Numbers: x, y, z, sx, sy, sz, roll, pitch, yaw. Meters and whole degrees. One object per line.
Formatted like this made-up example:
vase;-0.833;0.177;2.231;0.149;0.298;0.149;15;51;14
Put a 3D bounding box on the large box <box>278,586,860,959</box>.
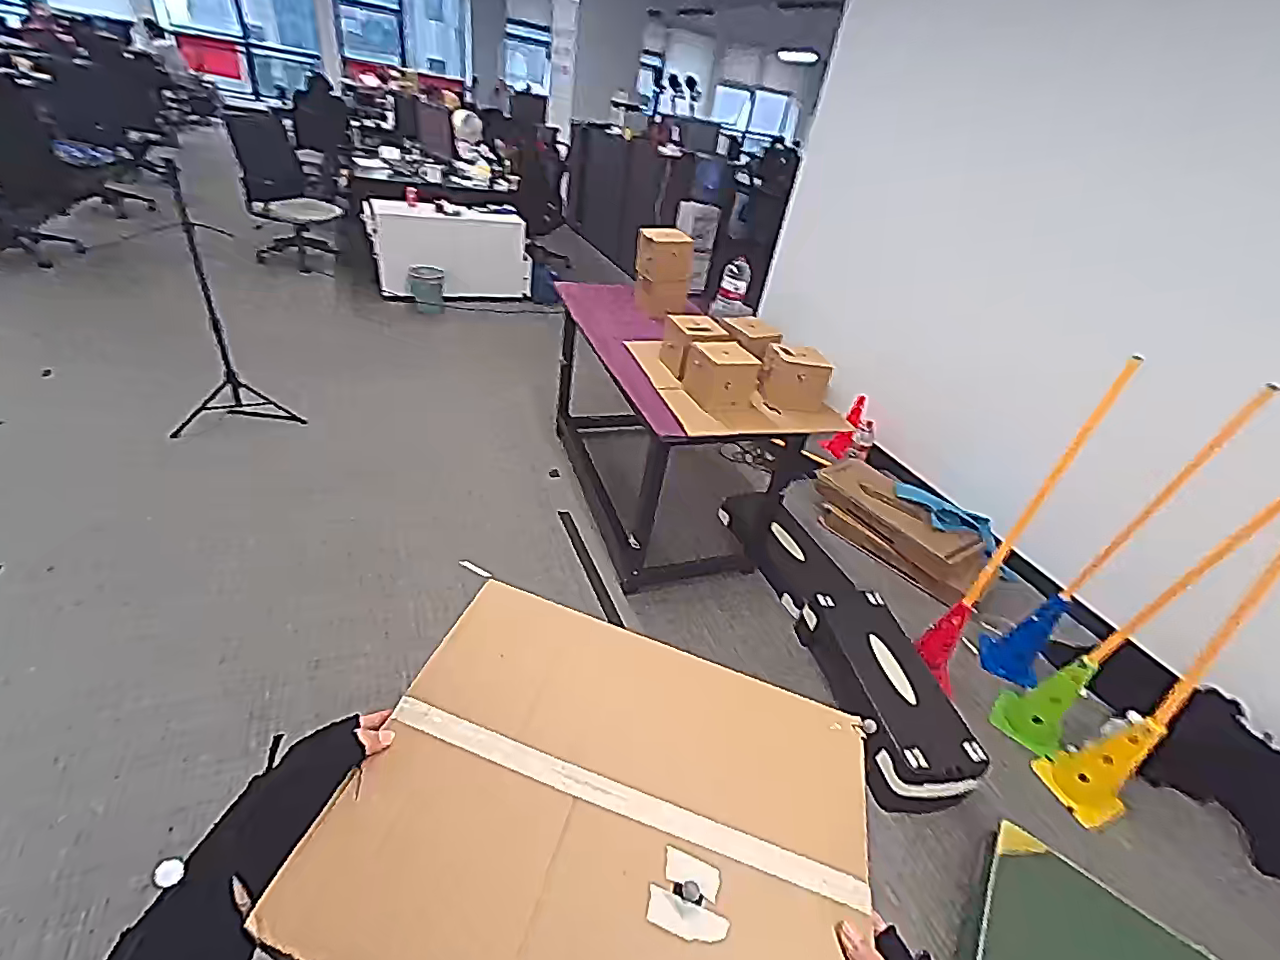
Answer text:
large box;-0.044;0.374;0.541;0.408;0.320;0.320;20;39;6
